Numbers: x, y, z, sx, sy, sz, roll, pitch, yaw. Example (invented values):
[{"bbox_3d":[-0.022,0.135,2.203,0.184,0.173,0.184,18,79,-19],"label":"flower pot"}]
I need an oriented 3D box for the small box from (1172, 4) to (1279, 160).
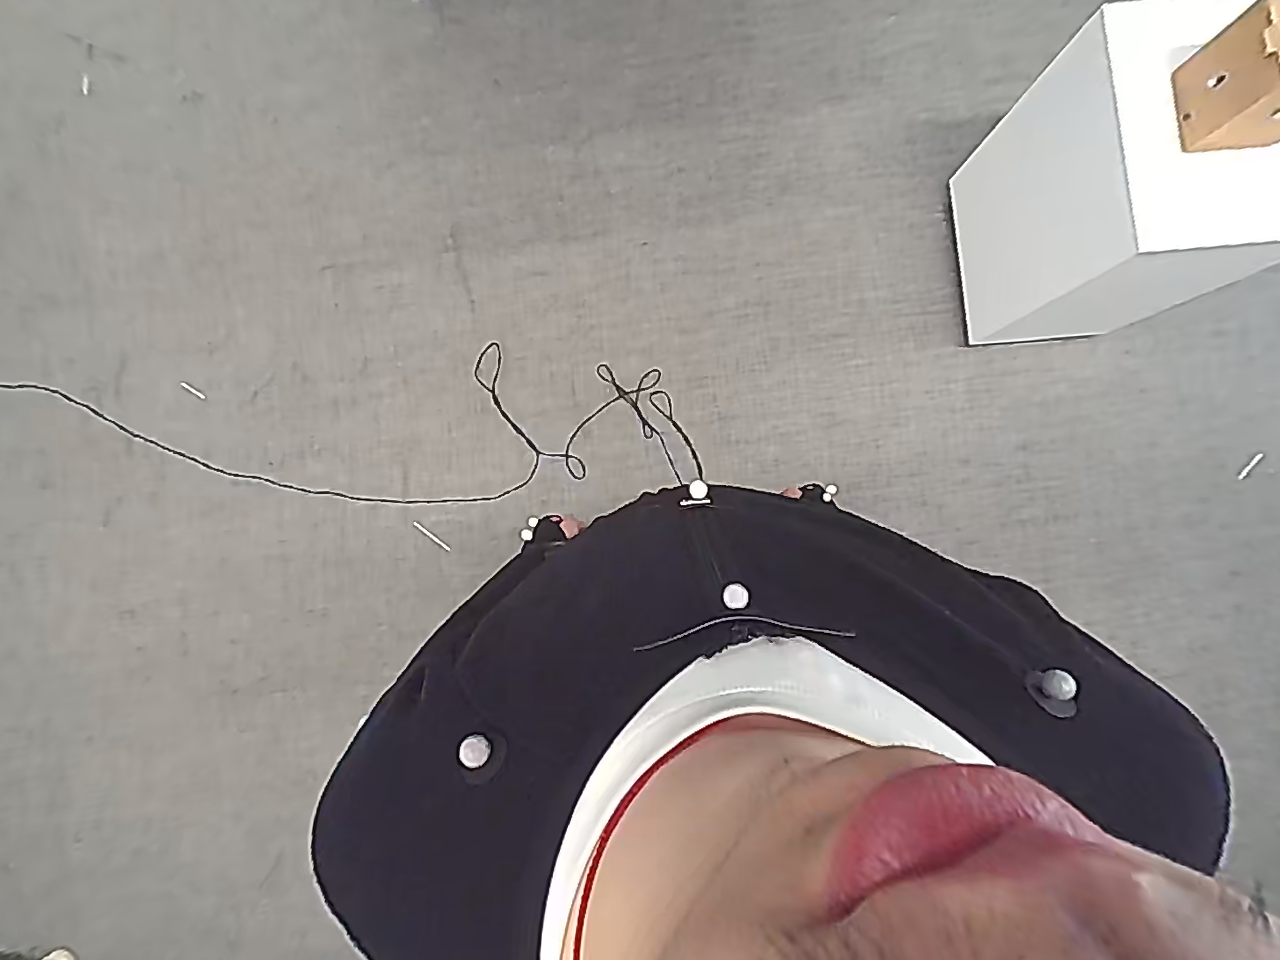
[{"bbox_3d":[1.115,-0.705,0.968,0.179,0.176,0.168,-7,85,0],"label":"small box"}]
